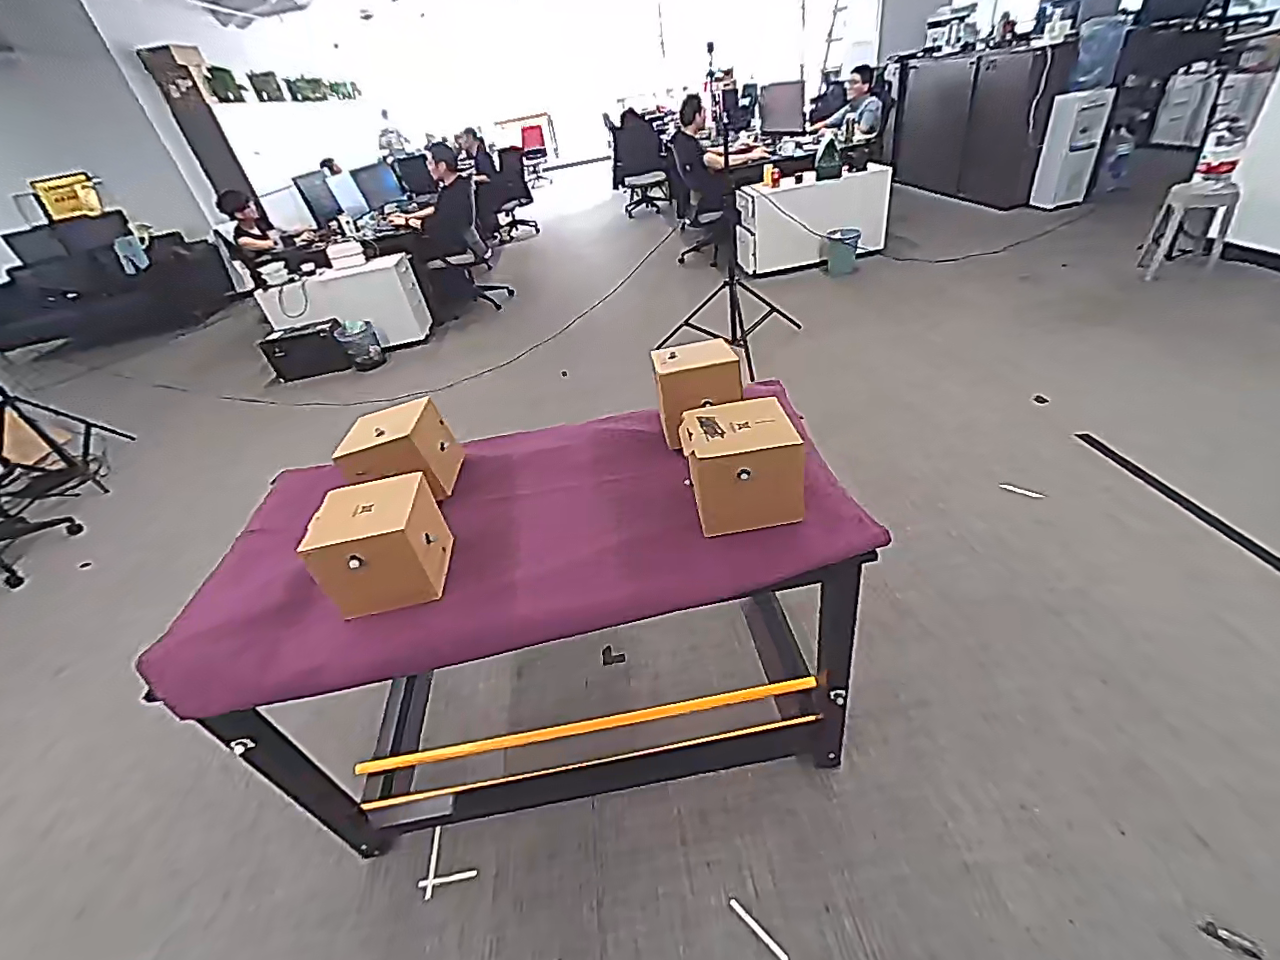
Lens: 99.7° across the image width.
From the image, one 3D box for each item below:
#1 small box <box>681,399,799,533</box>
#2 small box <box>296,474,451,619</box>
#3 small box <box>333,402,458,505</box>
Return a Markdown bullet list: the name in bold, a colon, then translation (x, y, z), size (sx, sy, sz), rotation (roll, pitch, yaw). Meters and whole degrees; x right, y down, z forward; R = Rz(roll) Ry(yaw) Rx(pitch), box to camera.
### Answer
- **small box**: translation (0.179, -0.023, 0.970), size (0.179, 0.176, 0.168), rotation (-10, 35, 2)
- **small box**: translation (-0.452, 0.118, 0.954), size (0.179, 0.176, 0.168), rotation (-12, 36, -2)
- **small box**: translation (-0.512, -0.046, 1.168), size (0.179, 0.168, 0.176), rotation (-16, 35, 6)
